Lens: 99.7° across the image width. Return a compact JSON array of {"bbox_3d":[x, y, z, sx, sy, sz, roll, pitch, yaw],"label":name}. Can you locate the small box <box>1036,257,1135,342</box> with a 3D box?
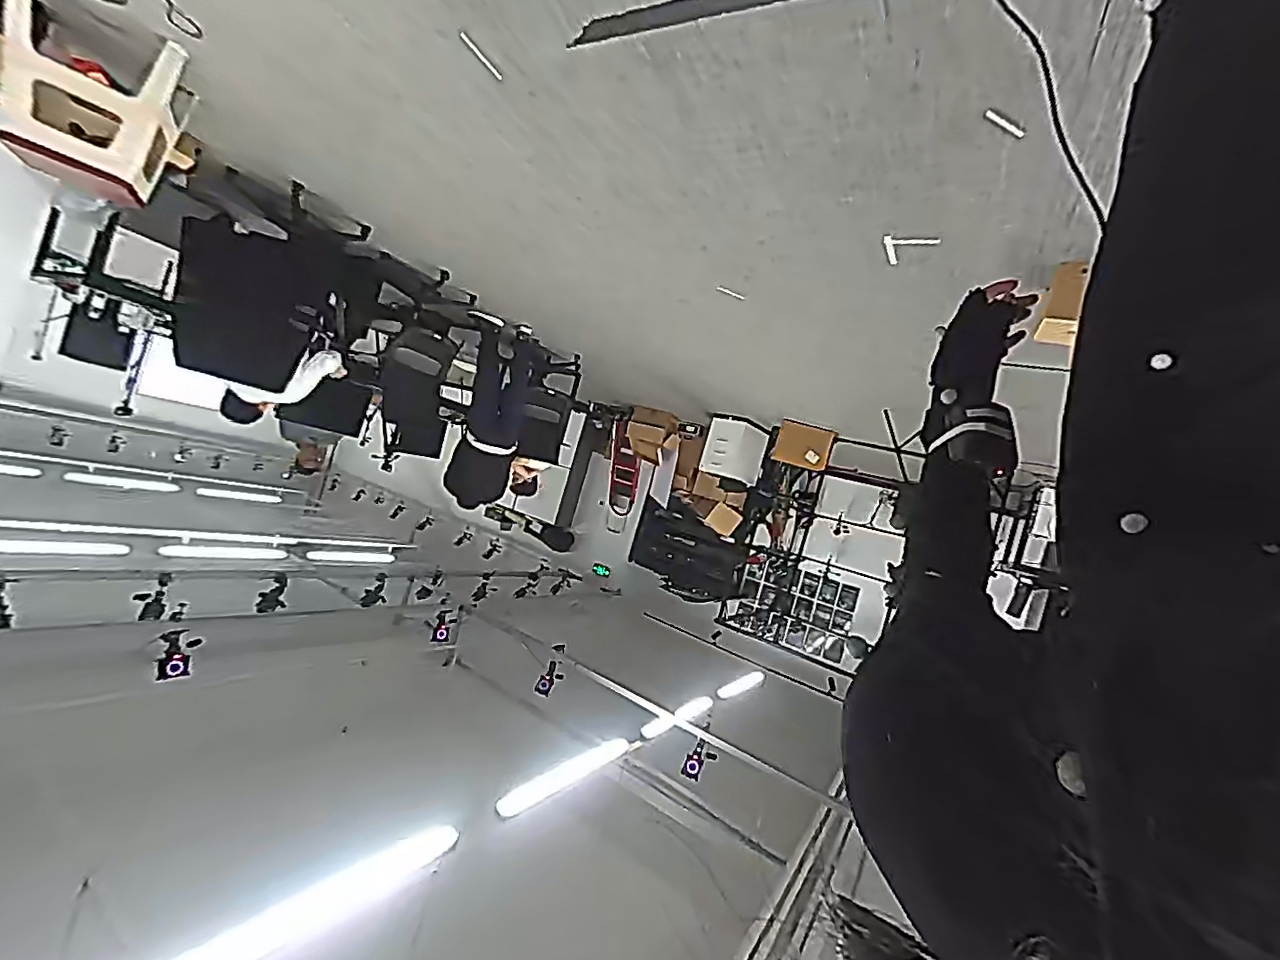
[{"bbox_3d":[1.271,-0.515,1.547,0.168,0.176,0.179,16,180,27],"label":"small box"}]
